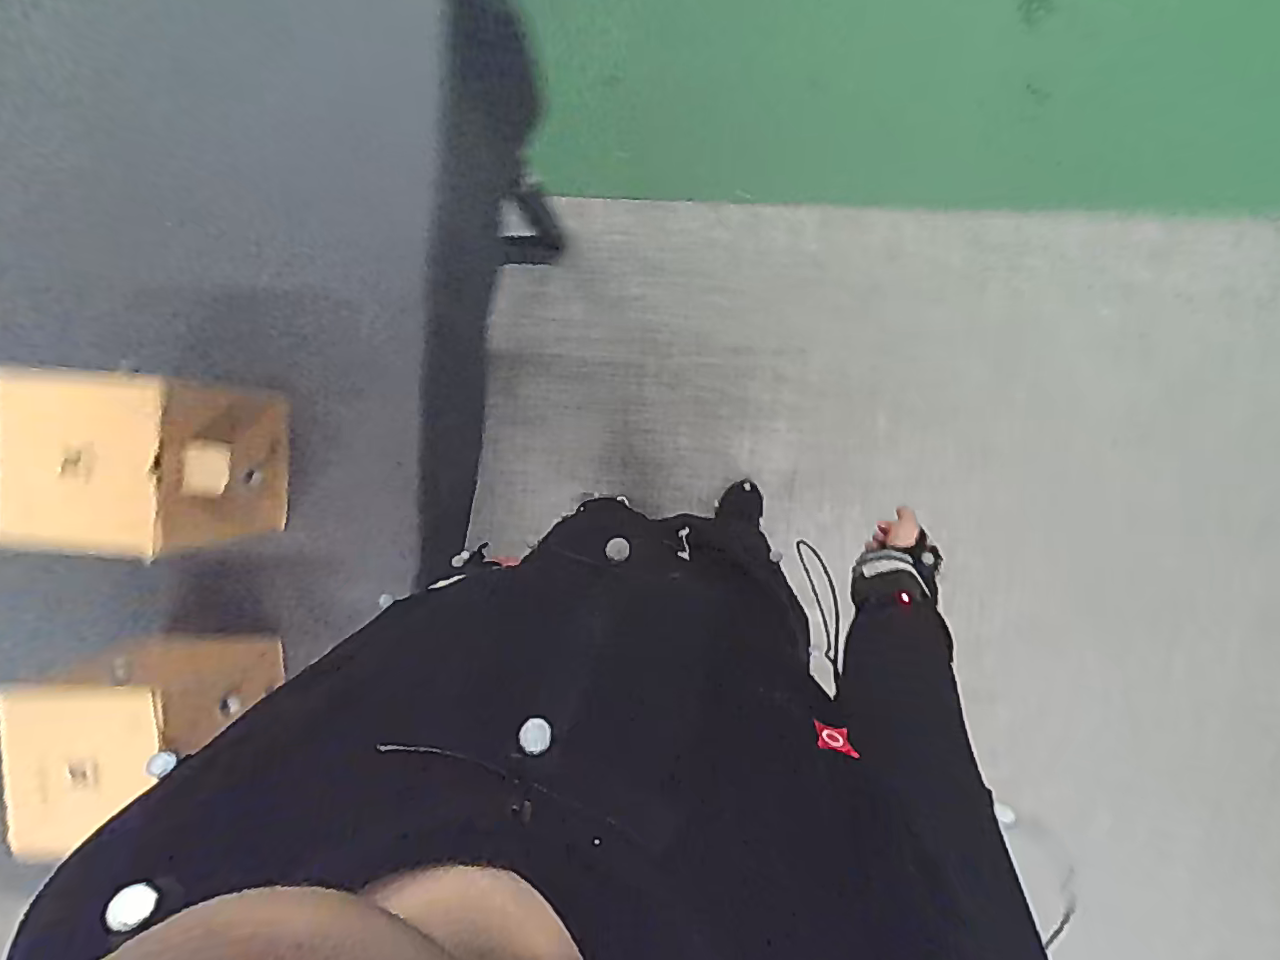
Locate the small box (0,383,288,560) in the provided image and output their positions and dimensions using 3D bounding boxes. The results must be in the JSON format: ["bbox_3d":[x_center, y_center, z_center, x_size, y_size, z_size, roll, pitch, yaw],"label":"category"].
[{"bbox_3d":[-0.534,-0.011,0.598,0.179,0.176,0.168,2,93,4],"label":"small box"}]

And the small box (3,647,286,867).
[{"bbox_3d":[-0.535,0.297,0.612,0.179,0.176,0.168,-4,91,6],"label":"small box"}]
